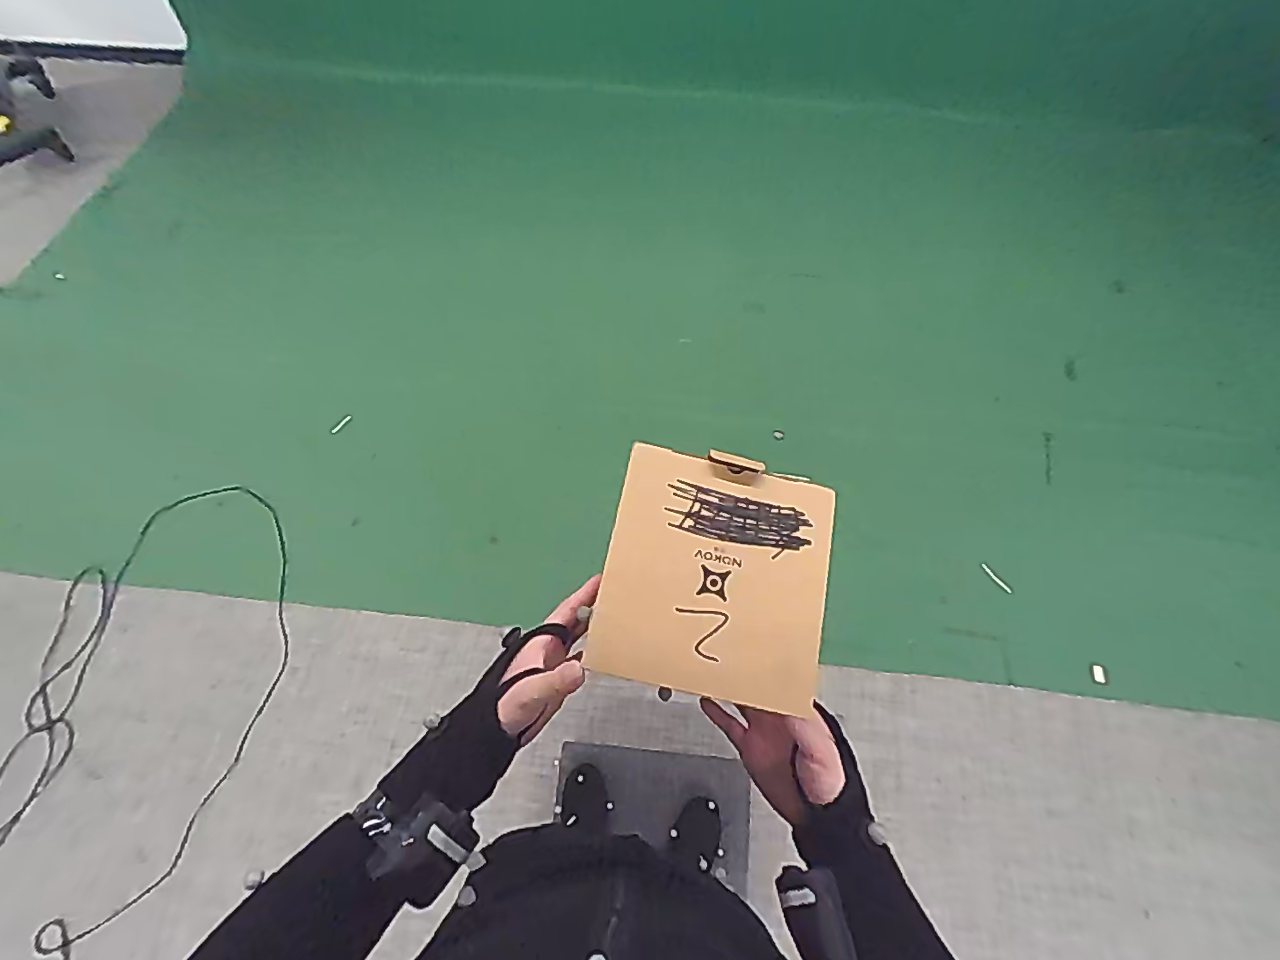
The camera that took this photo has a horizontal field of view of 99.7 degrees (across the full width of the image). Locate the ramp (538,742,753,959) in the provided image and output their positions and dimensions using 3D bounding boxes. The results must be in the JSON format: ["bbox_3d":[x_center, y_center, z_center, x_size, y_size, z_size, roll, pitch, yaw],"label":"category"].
[{"bbox_3d":[0.003,1.165,1.233,0.509,0.206,0.991,4,63,1],"label":"ramp"}]
